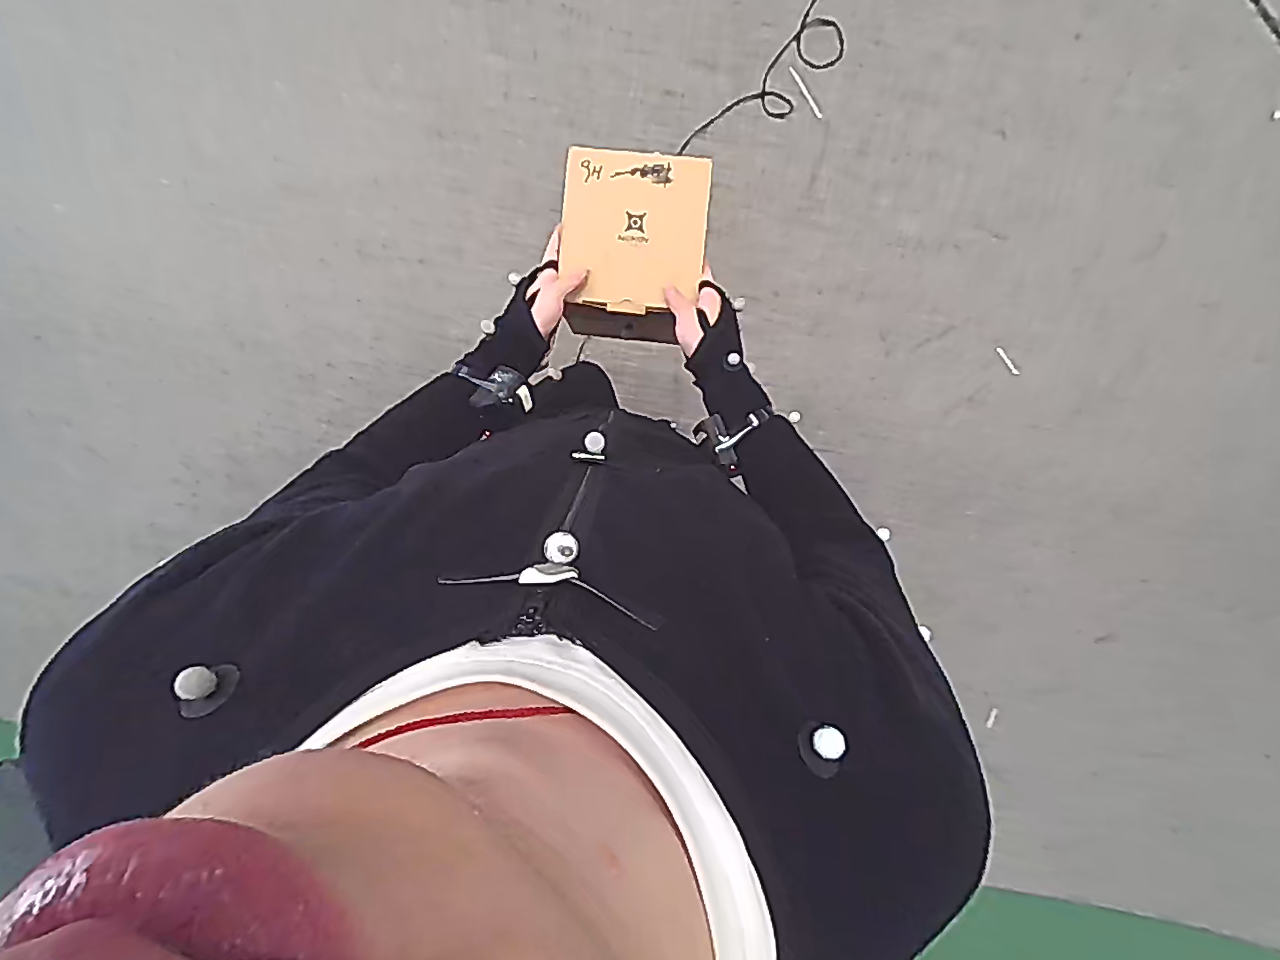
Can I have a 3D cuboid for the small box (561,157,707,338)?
[{"bbox_3d":[-0.005,-0.289,0.709,0.168,0.176,0.179,2,93,1],"label":"small box"}]
